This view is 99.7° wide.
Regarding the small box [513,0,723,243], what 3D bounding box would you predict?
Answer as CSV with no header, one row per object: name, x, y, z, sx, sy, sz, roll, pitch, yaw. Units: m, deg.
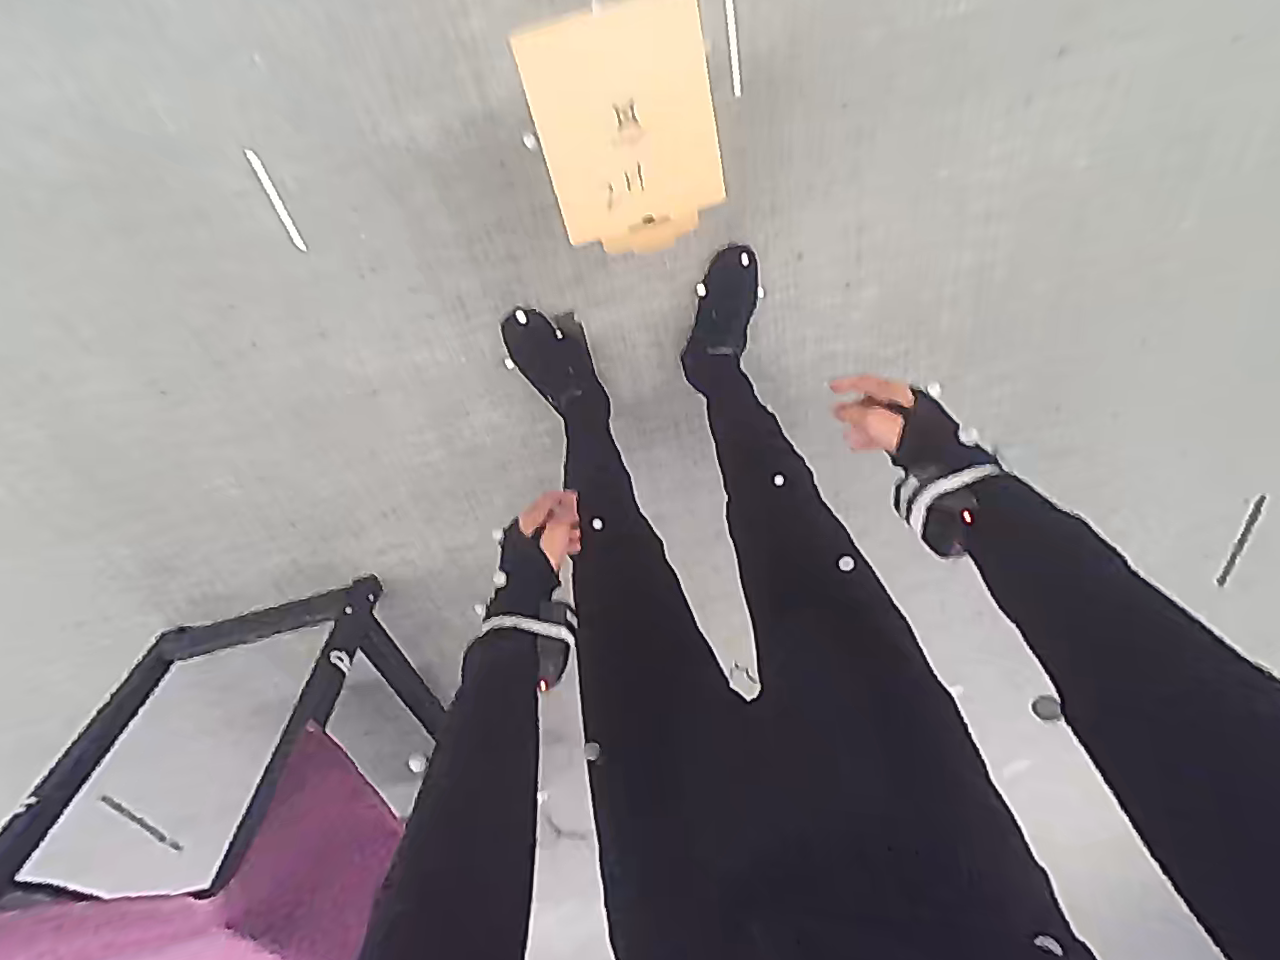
small box,-0.024,-0.373,0.570,0.168,0.176,0.179,-16,123,1
